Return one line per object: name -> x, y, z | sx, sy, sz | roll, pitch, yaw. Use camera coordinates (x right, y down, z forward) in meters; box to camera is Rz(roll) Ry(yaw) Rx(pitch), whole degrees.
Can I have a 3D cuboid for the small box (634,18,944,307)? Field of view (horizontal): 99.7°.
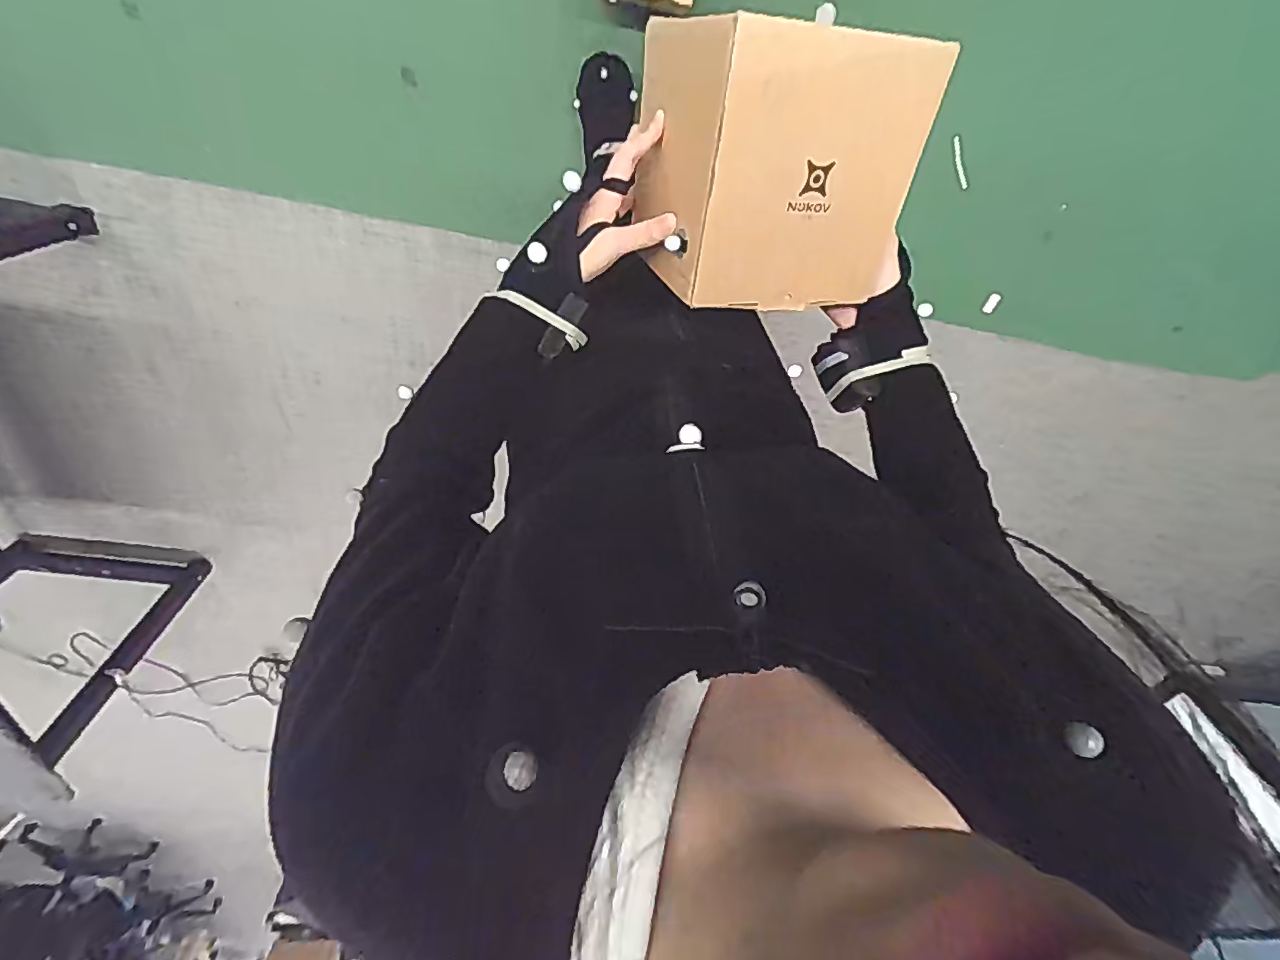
small box -> 0.098, -0.261, 0.449 | 0.168, 0.176, 0.179 | -7, 131, -15
